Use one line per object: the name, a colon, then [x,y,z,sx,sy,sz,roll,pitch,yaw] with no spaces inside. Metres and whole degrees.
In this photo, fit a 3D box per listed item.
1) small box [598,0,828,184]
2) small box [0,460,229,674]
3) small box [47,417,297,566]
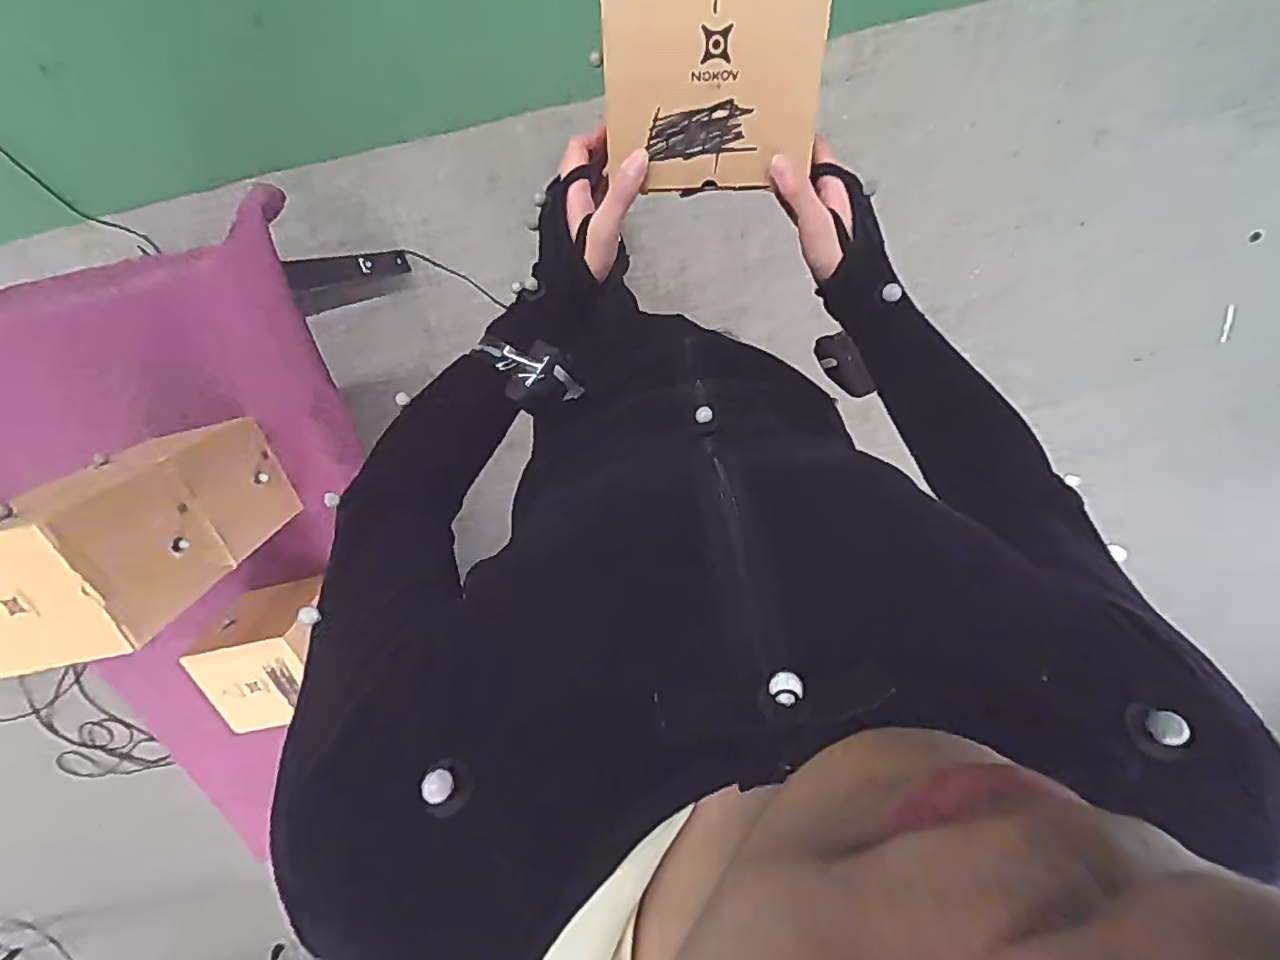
small box: [0.052,-0.361,0.464,0.168,0.176,0.179,-1,122,-1]
small box: [-0.648,0.093,0.633,0.179,0.176,0.168,-12,114,4]
small box: [-0.650,0.024,0.780,0.179,0.176,0.168,-12,115,4]
